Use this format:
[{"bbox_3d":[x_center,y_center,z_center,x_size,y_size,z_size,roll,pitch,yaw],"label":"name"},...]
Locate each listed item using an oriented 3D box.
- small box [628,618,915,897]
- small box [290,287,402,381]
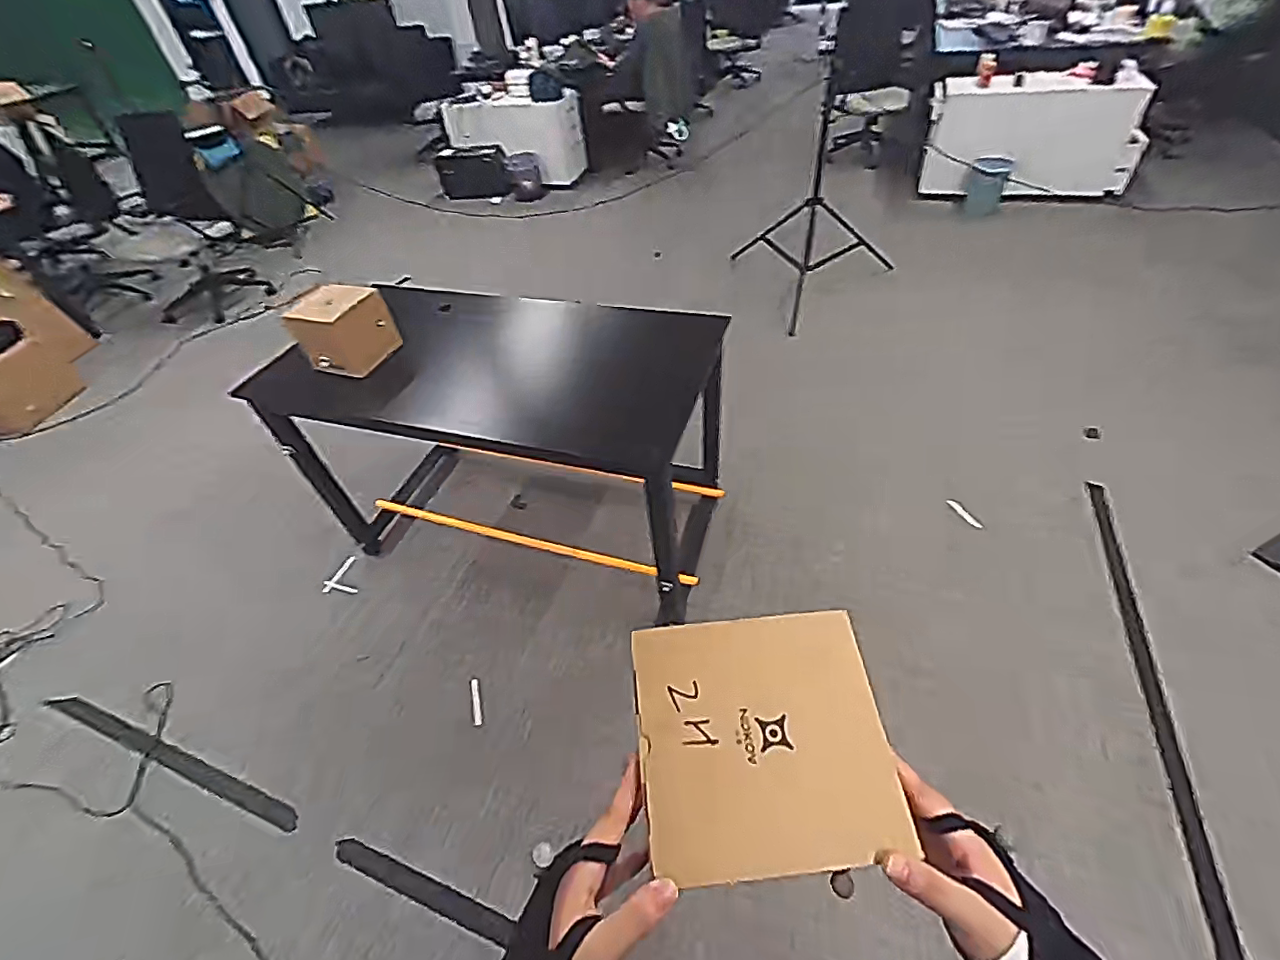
[{"bbox_3d":[0.083,0.227,0.448,0.179,0.176,0.168,-5,56,-2],"label":"small box"},{"bbox_3d":[-0.765,-0.389,1.436,0.168,0.176,0.179,11,49,18],"label":"small box"}]
